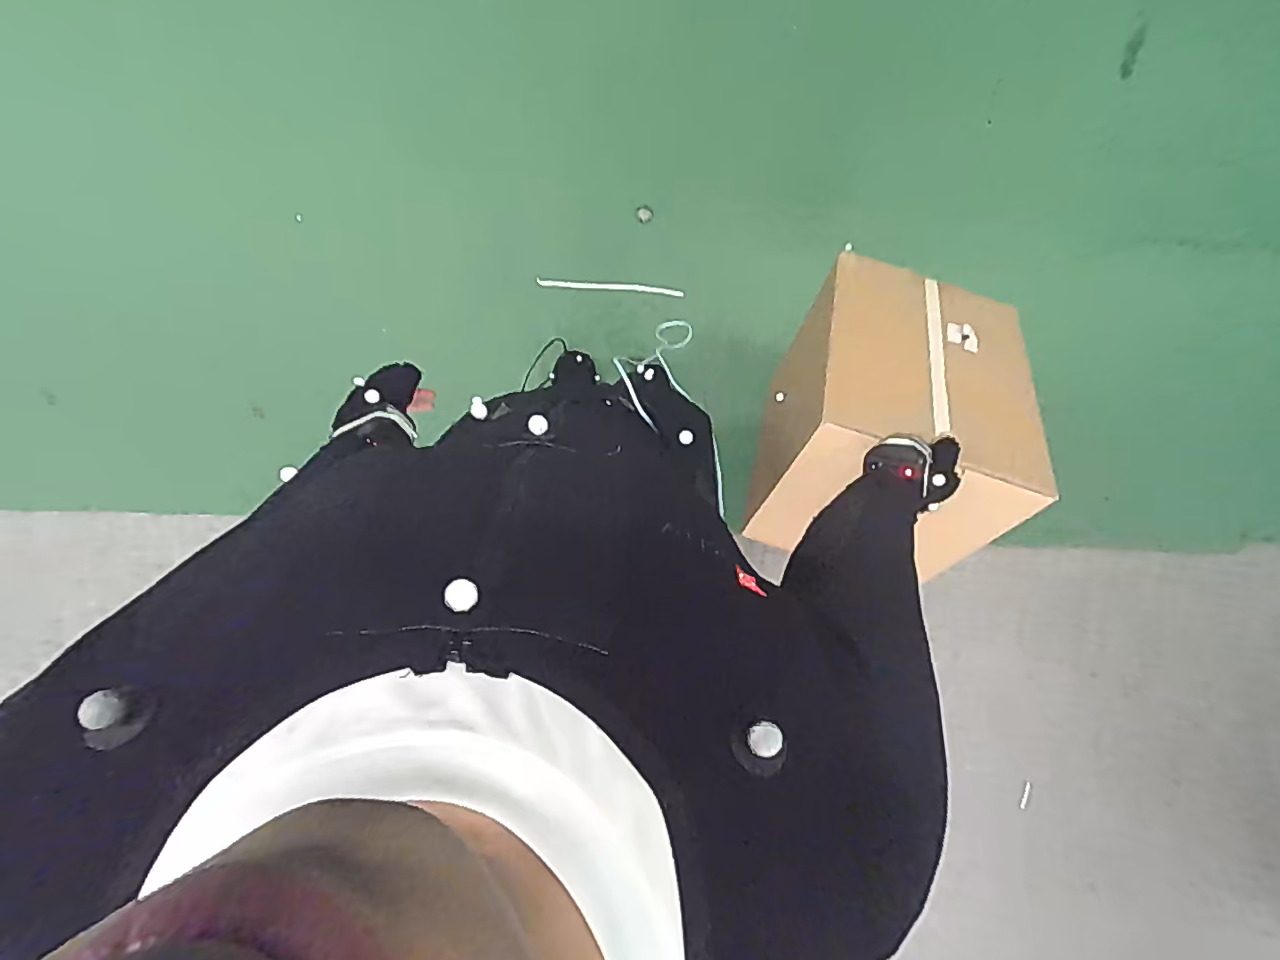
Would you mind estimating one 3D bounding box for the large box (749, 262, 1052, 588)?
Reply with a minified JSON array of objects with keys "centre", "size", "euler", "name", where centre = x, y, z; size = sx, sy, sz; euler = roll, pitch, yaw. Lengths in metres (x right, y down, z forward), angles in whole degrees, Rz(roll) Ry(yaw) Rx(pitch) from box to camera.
[{"centre":[0.401,-0.088,0.919],"size":[0.320,0.408,0.320],"euler":[19,144,0],"name":"large box"}]
